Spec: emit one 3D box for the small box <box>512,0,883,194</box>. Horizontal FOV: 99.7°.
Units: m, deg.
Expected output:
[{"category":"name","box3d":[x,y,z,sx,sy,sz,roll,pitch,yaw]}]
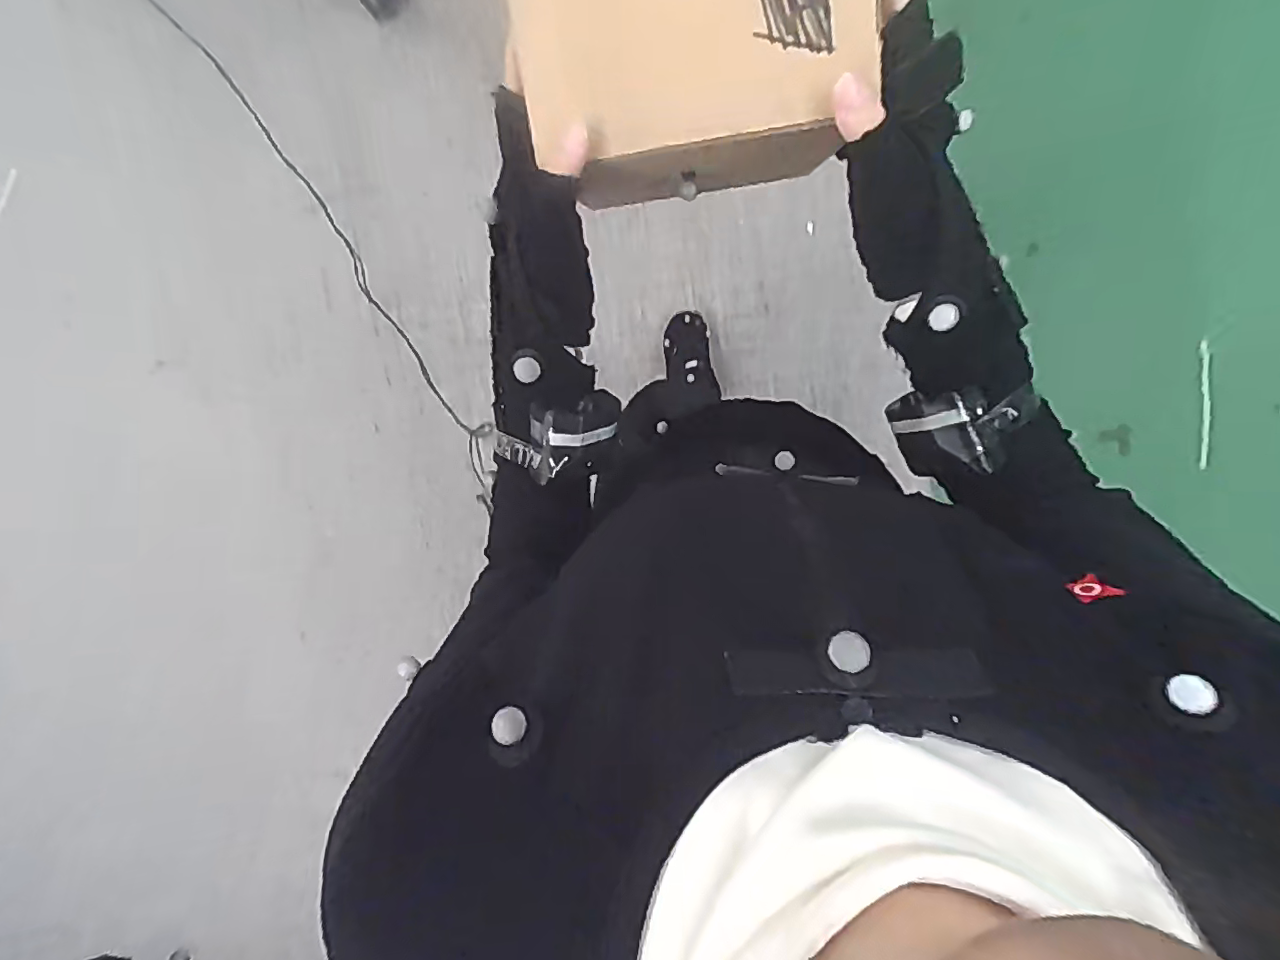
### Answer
[{"category":"small box","box3d":[0.028,-0.281,0.320,0.179,0.176,0.168,-5,109,8]}]
